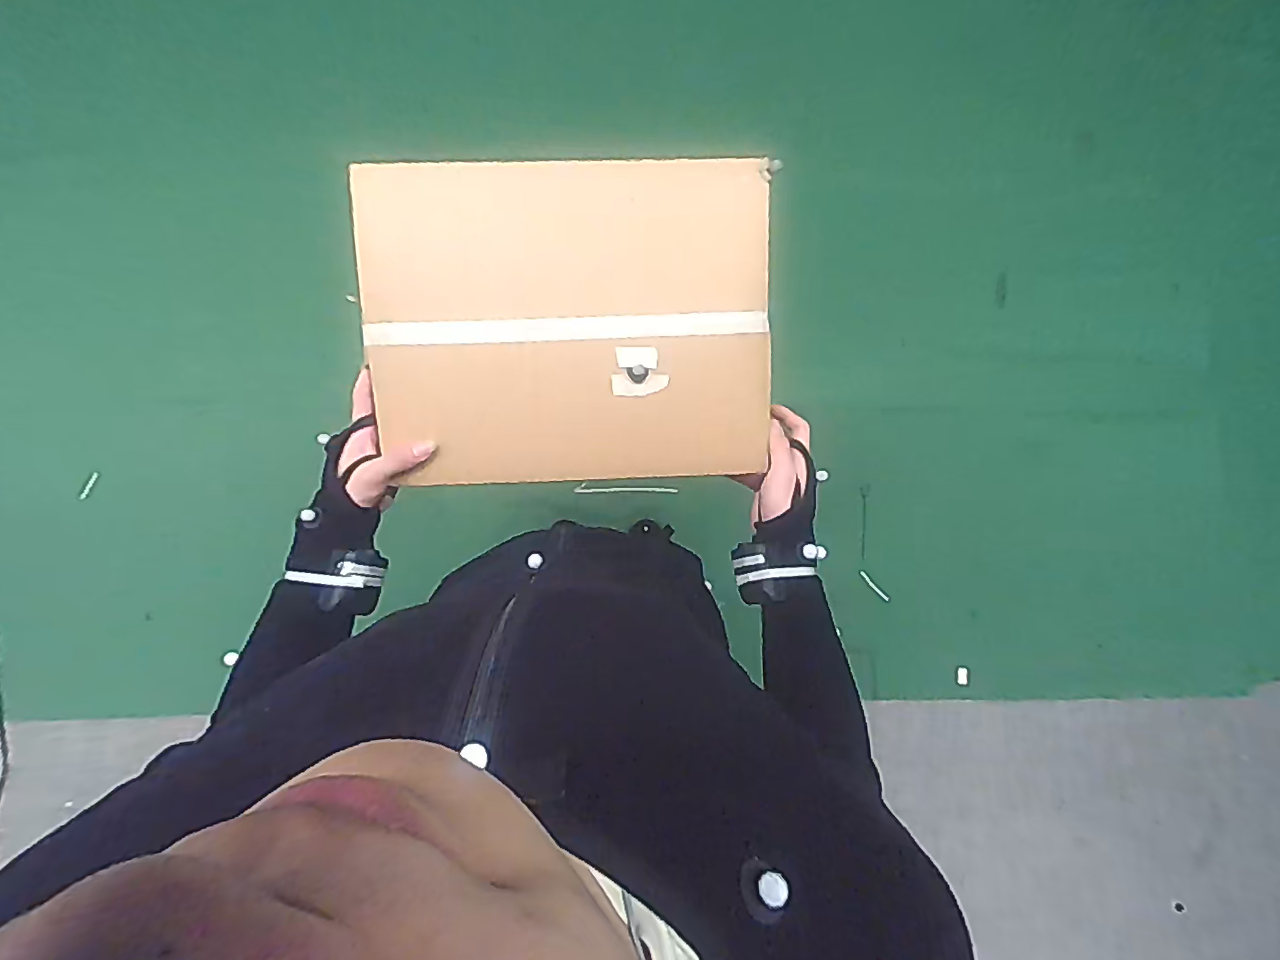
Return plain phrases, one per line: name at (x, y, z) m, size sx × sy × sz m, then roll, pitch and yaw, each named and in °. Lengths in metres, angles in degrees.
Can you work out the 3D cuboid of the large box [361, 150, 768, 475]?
large box at (-0.075, -0.191, 0.699) m, size 0.408 × 0.320 × 0.320 m, roll -2°, pitch 101°, yaw -3°
